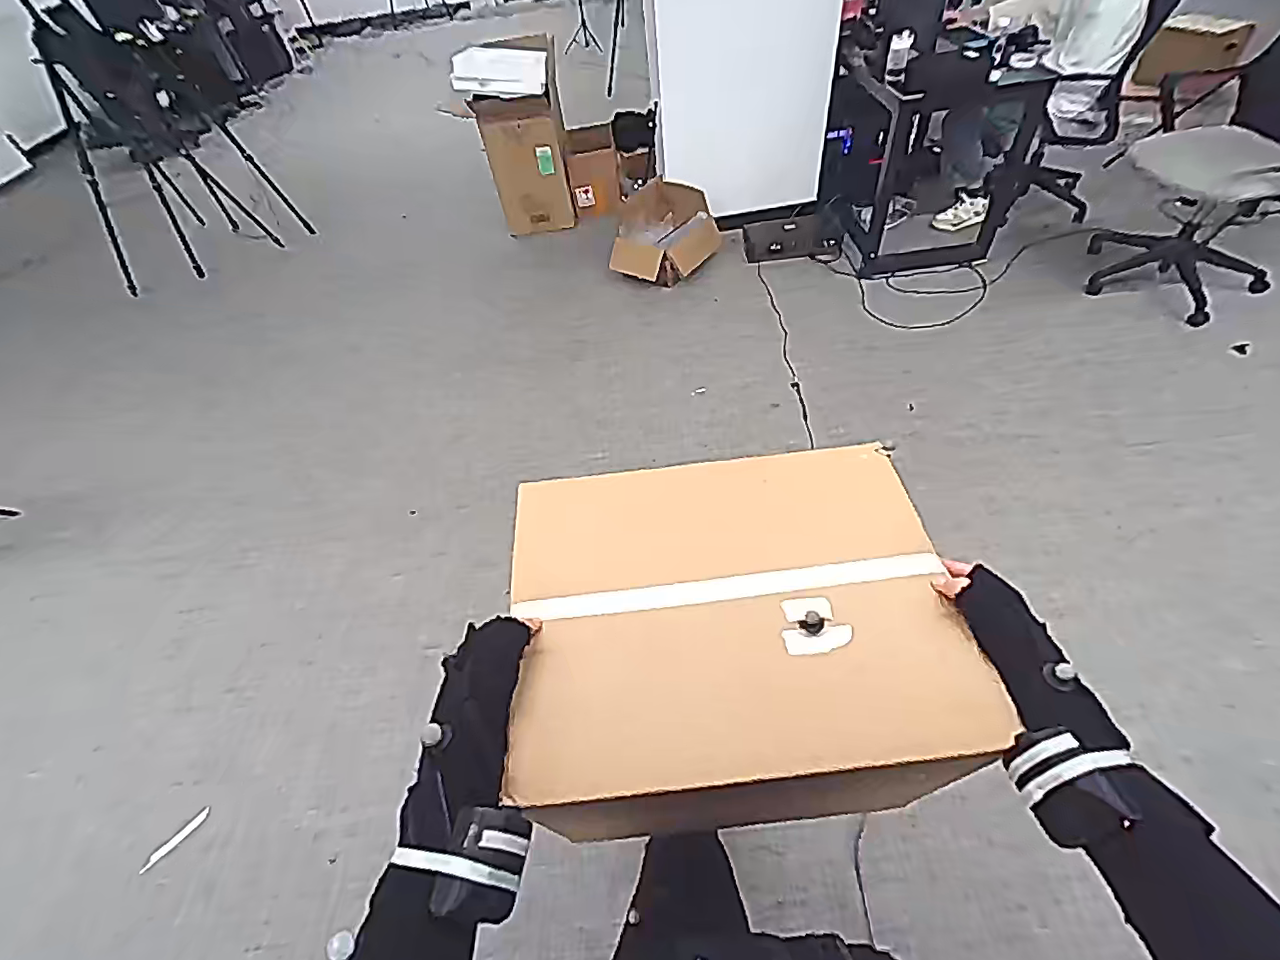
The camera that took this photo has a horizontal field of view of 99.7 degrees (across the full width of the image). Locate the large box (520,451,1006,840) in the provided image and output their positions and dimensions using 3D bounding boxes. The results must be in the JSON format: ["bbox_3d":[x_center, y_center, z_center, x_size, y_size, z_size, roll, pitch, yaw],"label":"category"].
[{"bbox_3d":[0.093,0.201,0.637,0.408,0.320,0.320,-7,51,0],"label":"large box"}]
